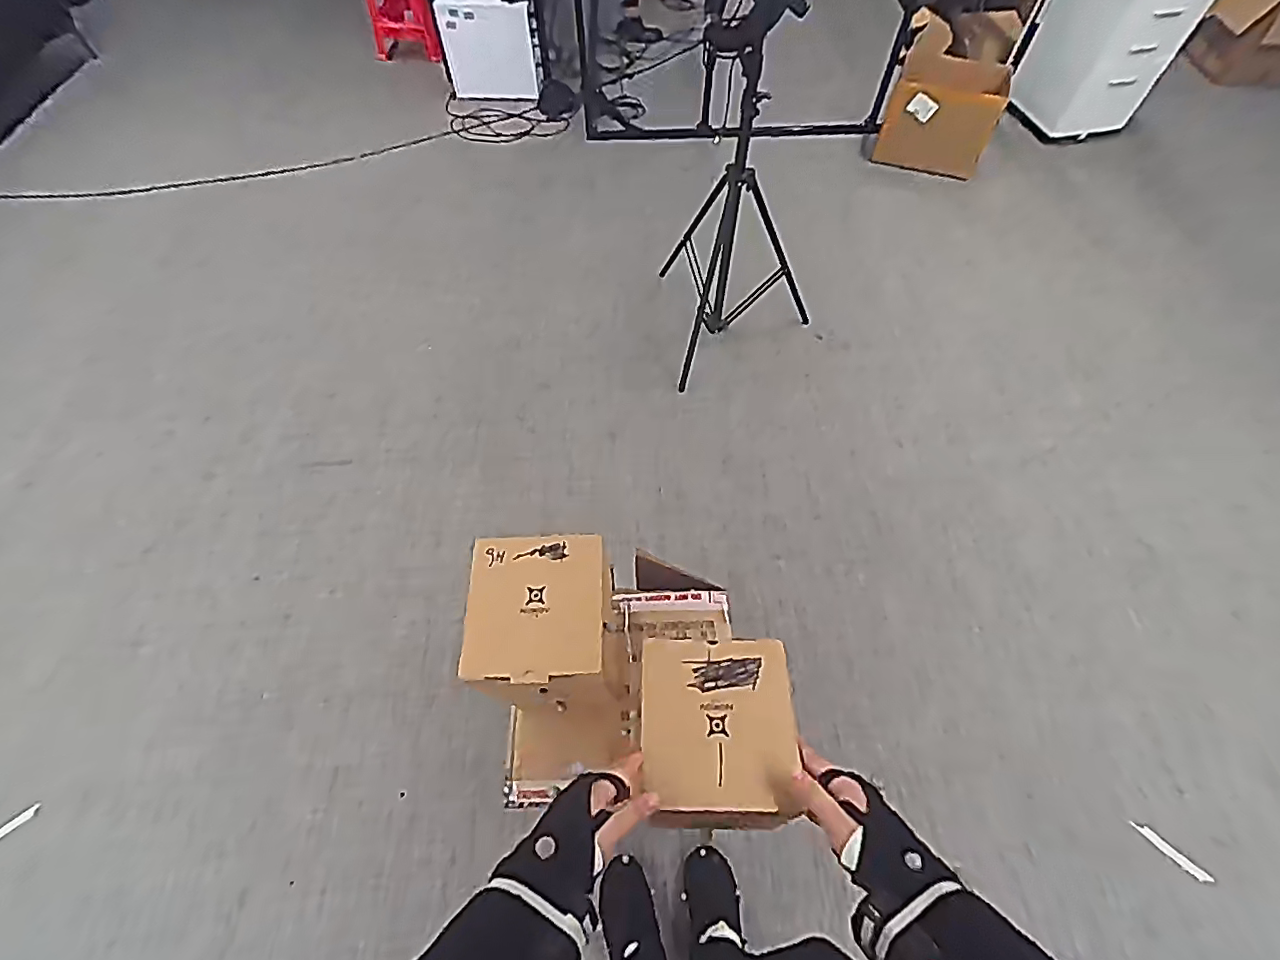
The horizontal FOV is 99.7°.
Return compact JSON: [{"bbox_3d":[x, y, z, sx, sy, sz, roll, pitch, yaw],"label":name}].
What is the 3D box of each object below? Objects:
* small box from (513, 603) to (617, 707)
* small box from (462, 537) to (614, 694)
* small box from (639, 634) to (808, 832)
[{"bbox_3d":[-0.125,0.261,0.876,0.168,0.176,0.179,-4,61,0],"label":"small box"},{"bbox_3d":[-0.123,0.189,0.727,0.168,0.176,0.179,-3,62,1],"label":"small box"},{"bbox_3d":[0.084,0.302,0.643,0.168,0.176,0.179,1,51,0],"label":"small box"}]
